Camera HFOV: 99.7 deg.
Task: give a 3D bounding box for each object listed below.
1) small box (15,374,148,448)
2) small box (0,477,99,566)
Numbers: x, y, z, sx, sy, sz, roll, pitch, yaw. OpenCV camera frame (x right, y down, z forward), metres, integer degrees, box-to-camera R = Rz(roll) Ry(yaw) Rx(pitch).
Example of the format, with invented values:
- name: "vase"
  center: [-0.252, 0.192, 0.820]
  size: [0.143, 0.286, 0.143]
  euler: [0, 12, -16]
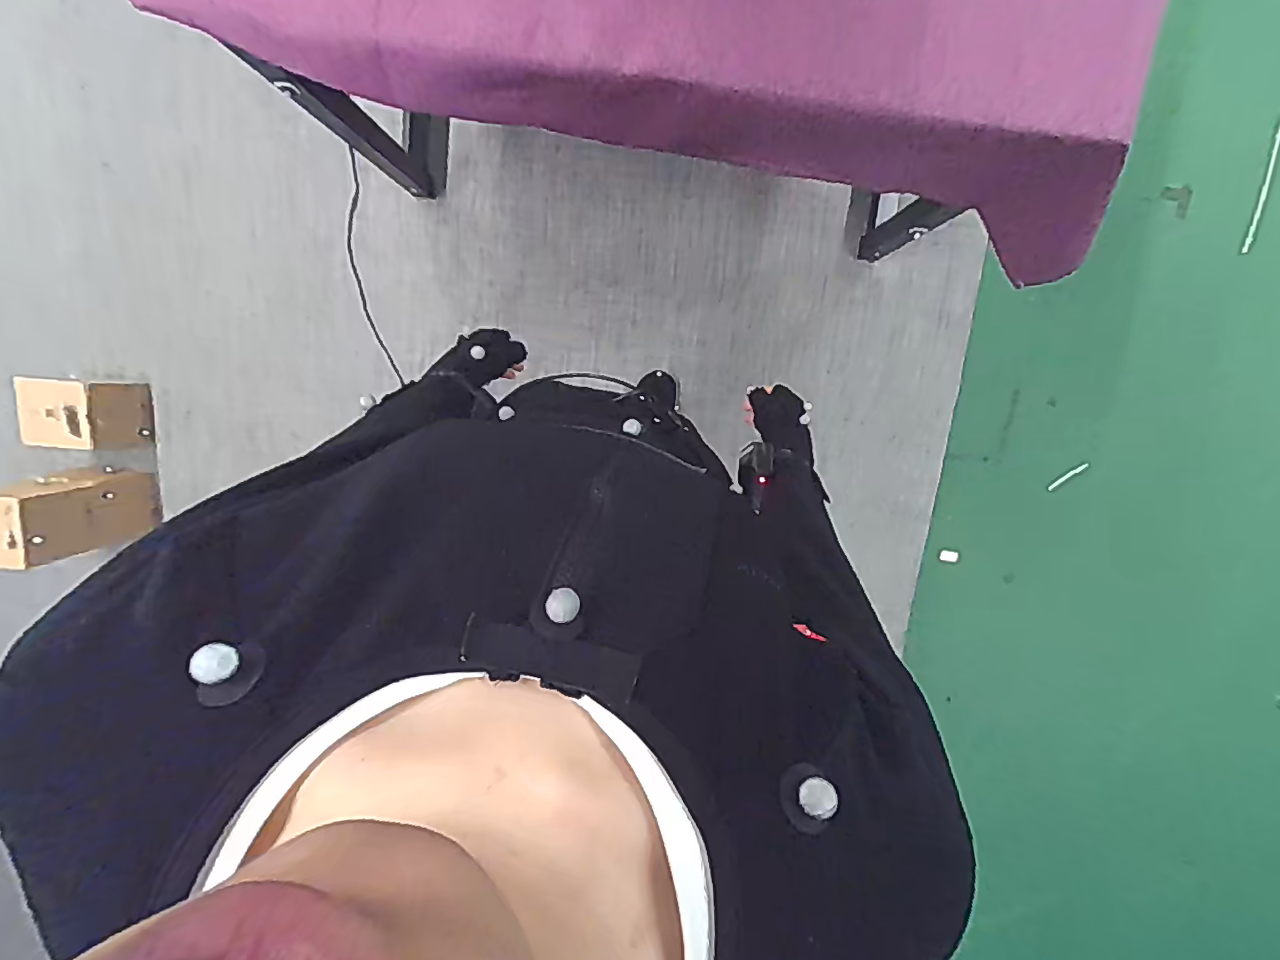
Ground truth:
- name: "small box"
  center: [-1.404, -0.180, 1.377]
  size: [0.179, 0.176, 0.168]
  euler: [5, 99, 1]
- name: "small box"
  center: [-1.431, 0.089, 1.260]
  size: [0.179, 0.176, 0.168]
  euler: [6, 100, 1]
